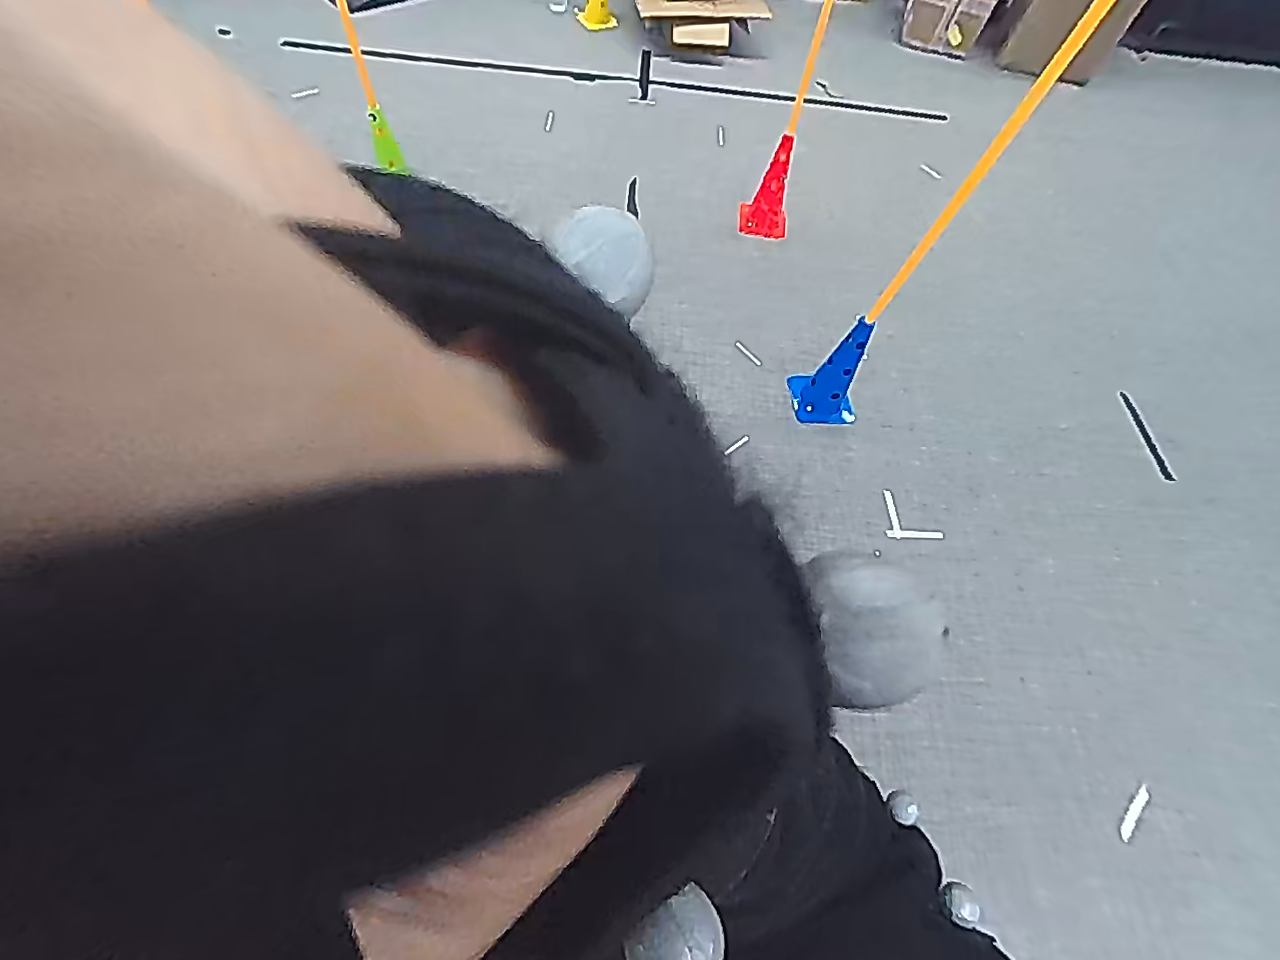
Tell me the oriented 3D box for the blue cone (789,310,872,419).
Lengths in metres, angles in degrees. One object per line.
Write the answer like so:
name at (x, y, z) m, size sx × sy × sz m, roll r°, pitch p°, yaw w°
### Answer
blue cone at (0.621, -0.364, 1.673) m, size 0.193 × 0.380 × 0.192 m, roll 1°, pitch 60°, yaw -6°

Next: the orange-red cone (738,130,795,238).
orange-red cone at (0.526, -1.165, 2.096) m, size 0.199 × 0.360 × 0.198 m, roll 10°, pitch 61°, yaw -1°
